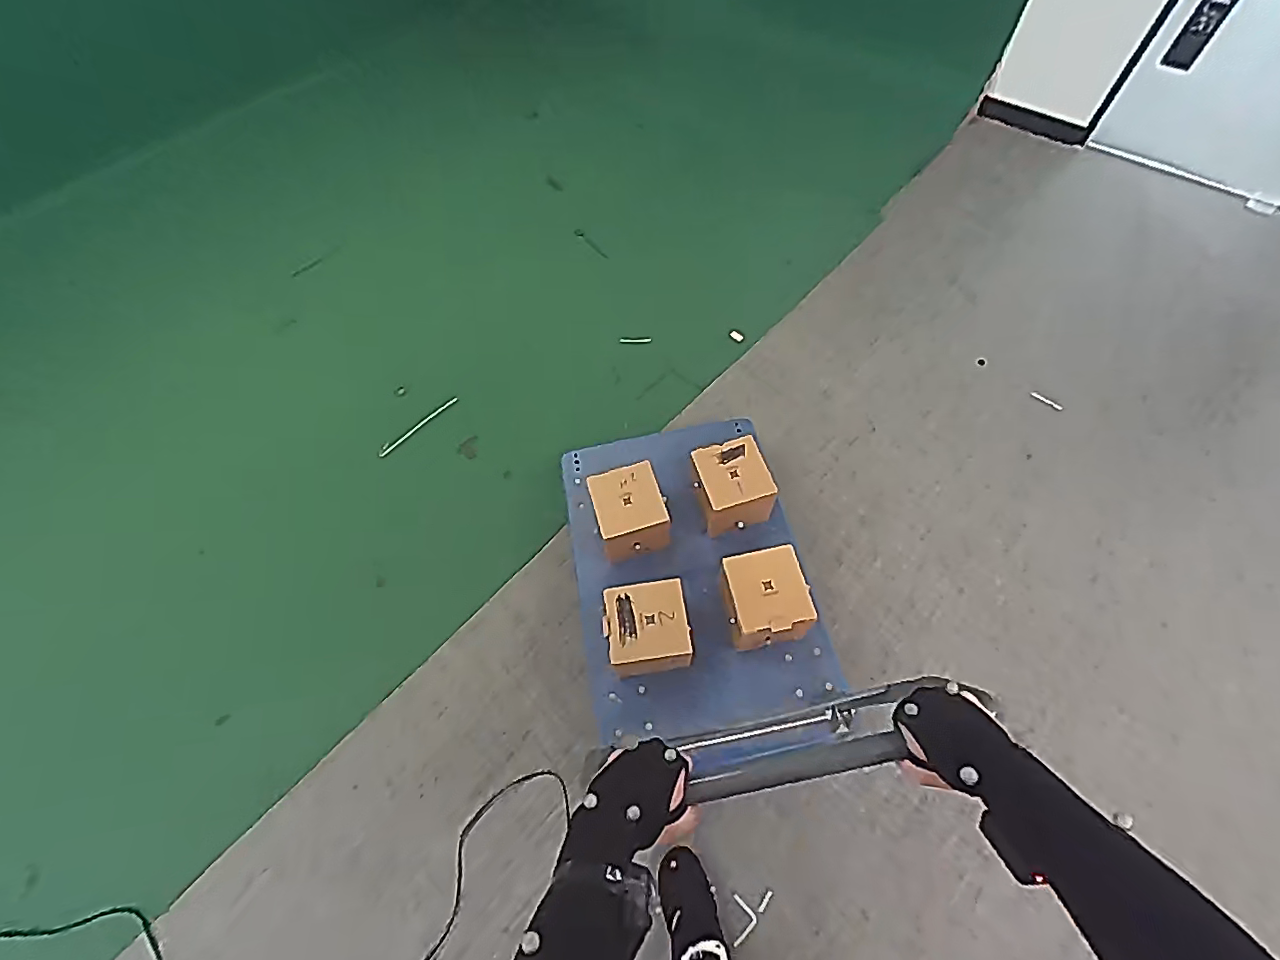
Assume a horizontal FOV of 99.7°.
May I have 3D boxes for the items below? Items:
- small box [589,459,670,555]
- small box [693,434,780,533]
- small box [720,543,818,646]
[{"bbox_3d":[-0.023,0.076,1.371,0.168,0.176,0.179,-15,62,-6],"label":"small box"},{"bbox_3d":[0.238,0.012,1.392,0.168,0.176,0.179,-16,63,-5],"label":"small box"},{"bbox_3d":[0.288,0.269,1.253,0.168,0.176,0.179,-11,63,-2],"label":"small box"}]
